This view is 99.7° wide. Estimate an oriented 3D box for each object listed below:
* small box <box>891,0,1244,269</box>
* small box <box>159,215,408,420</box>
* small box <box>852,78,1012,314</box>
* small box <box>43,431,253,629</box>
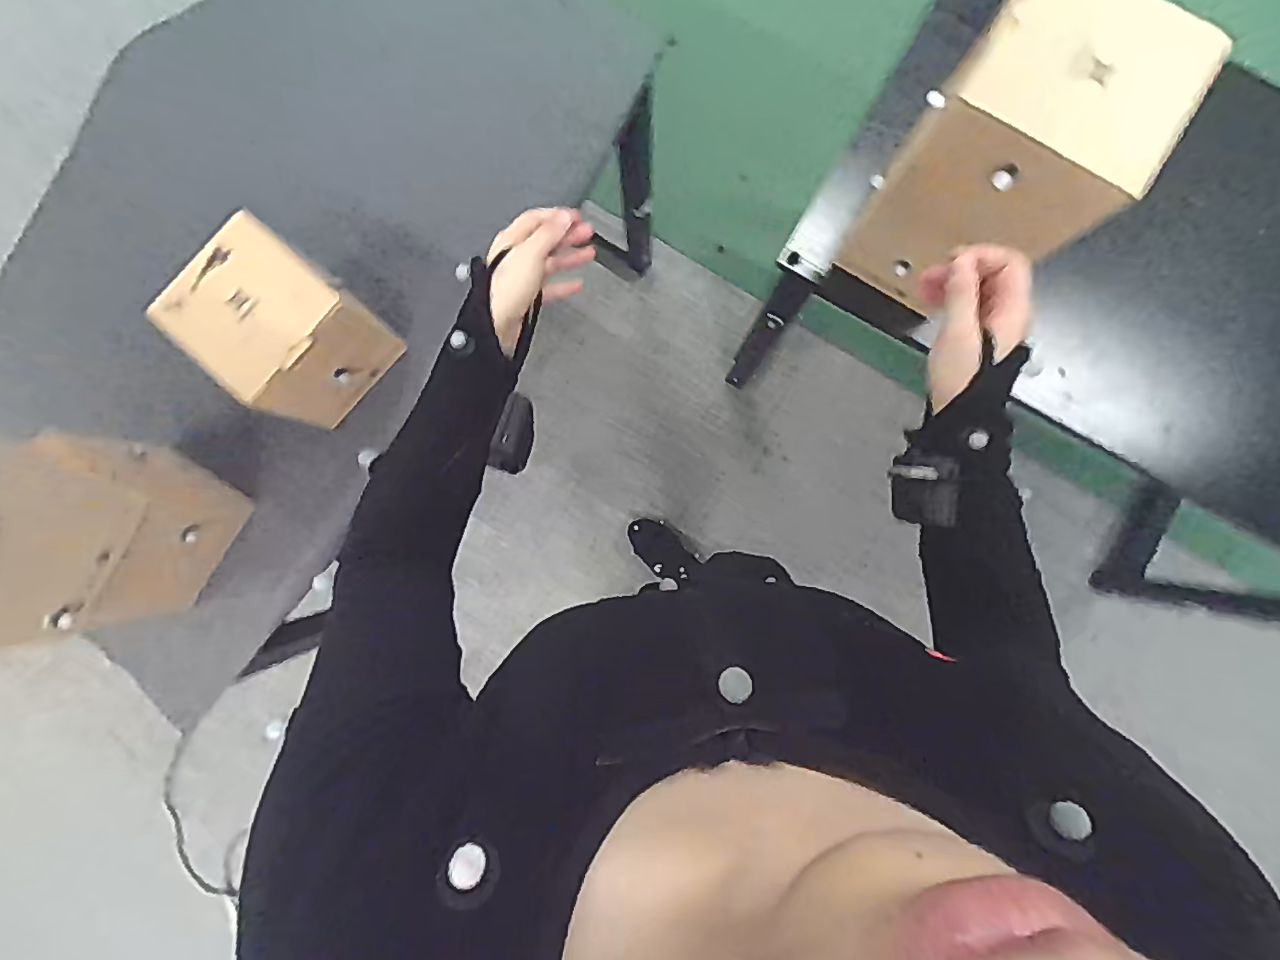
[{"bbox_3d":[0.394,-0.339,0.534,0.179,0.176,0.168,32,88,3],"label":"small box"},{"bbox_3d":[-0.449,-0.196,0.714,0.179,0.176,0.168,42,89,4],"label":"small box"},{"bbox_3d":[0.401,-0.347,0.698,0.168,0.176,0.179,32,88,2],"label":"small box"},{"bbox_3d":[-0.659,0.062,0.705,0.168,0.176,0.179,31,88,5],"label":"small box"}]
